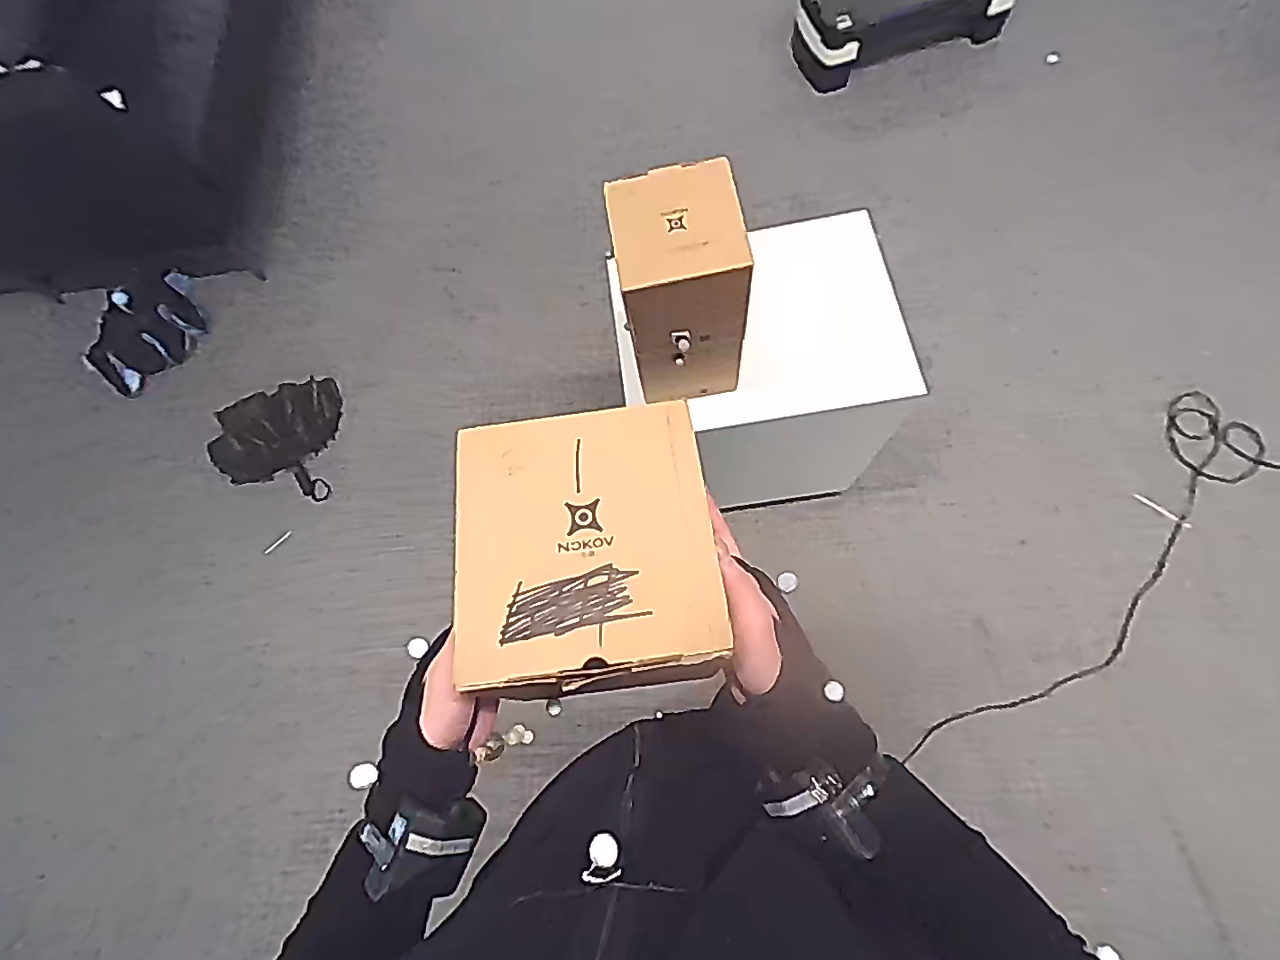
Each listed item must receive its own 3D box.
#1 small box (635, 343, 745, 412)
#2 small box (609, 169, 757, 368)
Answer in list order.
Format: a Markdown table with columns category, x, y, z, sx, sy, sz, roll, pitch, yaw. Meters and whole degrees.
| category | x | y | z | sx | sy | sz | roll | pitch | yaw |
| --- | --- | --- | --- | --- | --- | --- | --- | --- | --- |
| small box | 0.076 | -0.237 | 0.907 | 0.168 | 0.176 | 0.179 | -9 | 70 | 4 |
| small box | 0.059 | -0.283 | 0.753 | 0.168 | 0.176 | 0.179 | -11 | 71 | 5 |
